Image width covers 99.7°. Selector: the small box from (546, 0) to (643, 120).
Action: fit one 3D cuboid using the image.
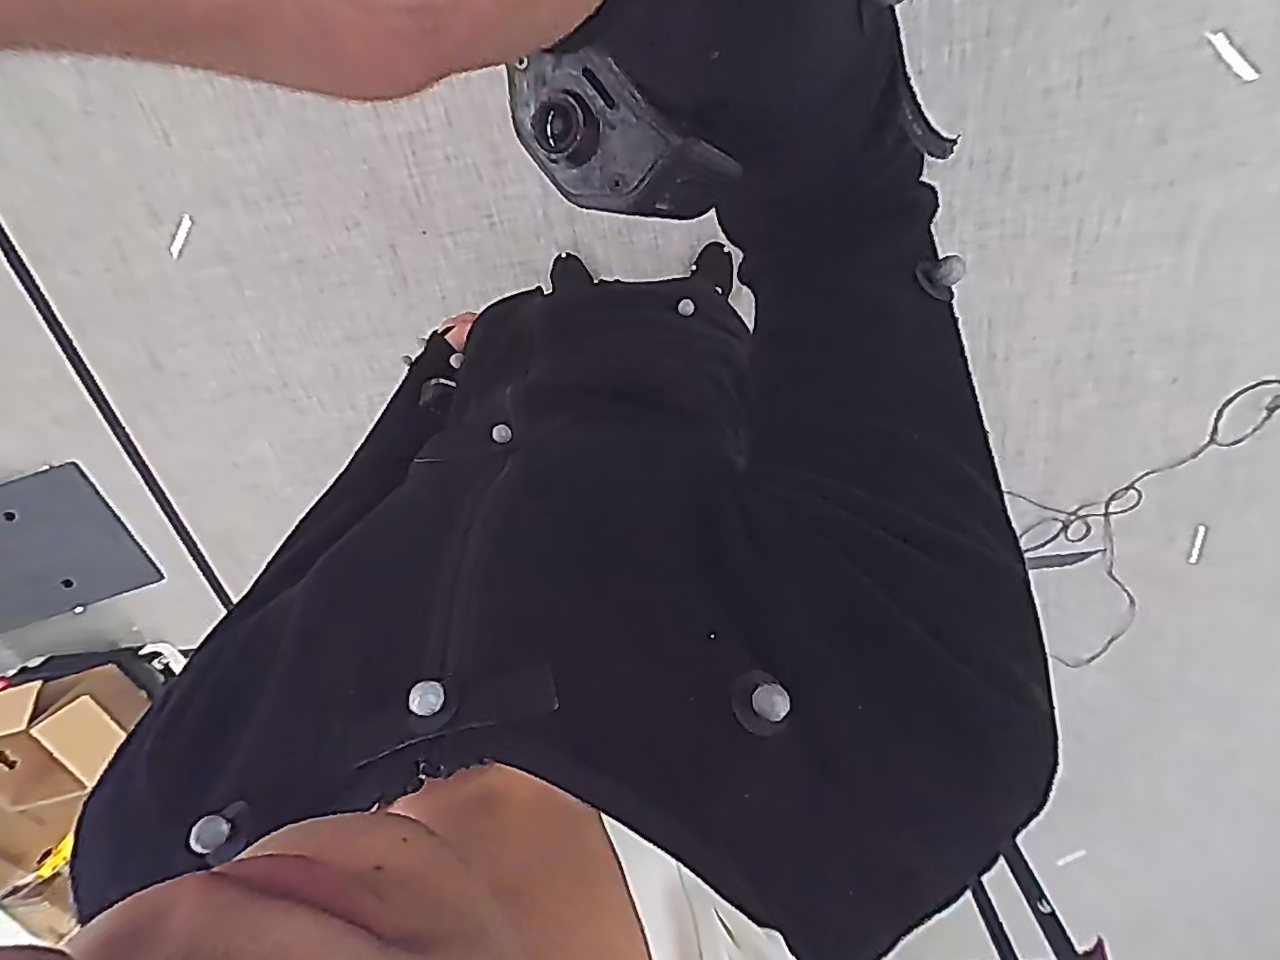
[{"bbox_3d":[-0.092,-0.932,1.198,0.168,0.176,0.179,-11,114,9],"label":"small box"}]
